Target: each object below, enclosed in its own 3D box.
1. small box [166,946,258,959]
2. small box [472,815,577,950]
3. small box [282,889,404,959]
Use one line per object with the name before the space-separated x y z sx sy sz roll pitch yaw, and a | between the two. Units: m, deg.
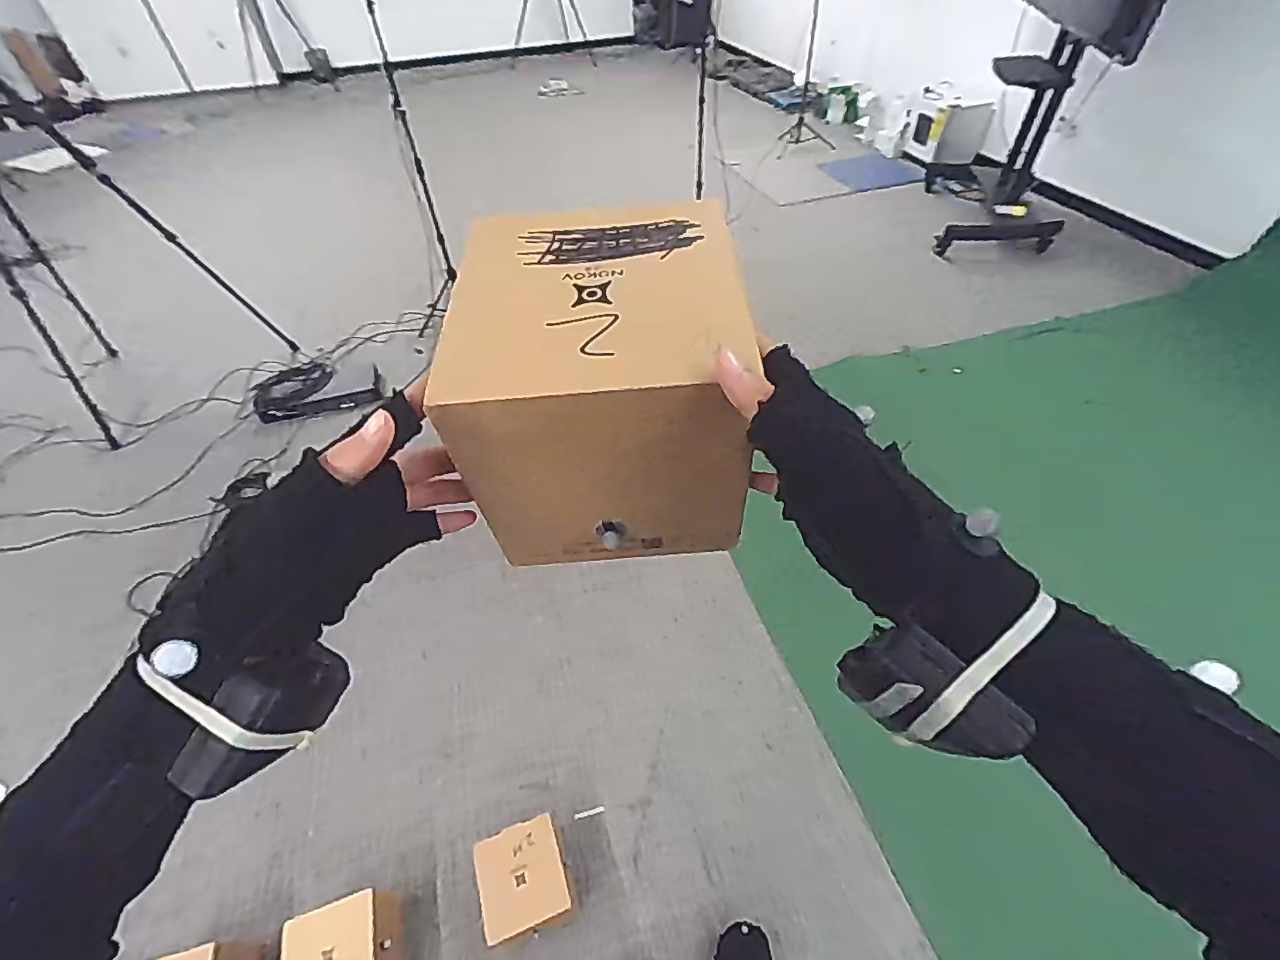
small box | -0.854 1.007 1.008 0.168 0.176 0.179 -12 47 -8
small box | -0.237 0.841 1.131 0.168 0.176 0.179 -17 49 -14
small box | -0.574 0.942 1.056 0.168 0.176 0.179 -16 50 -12
